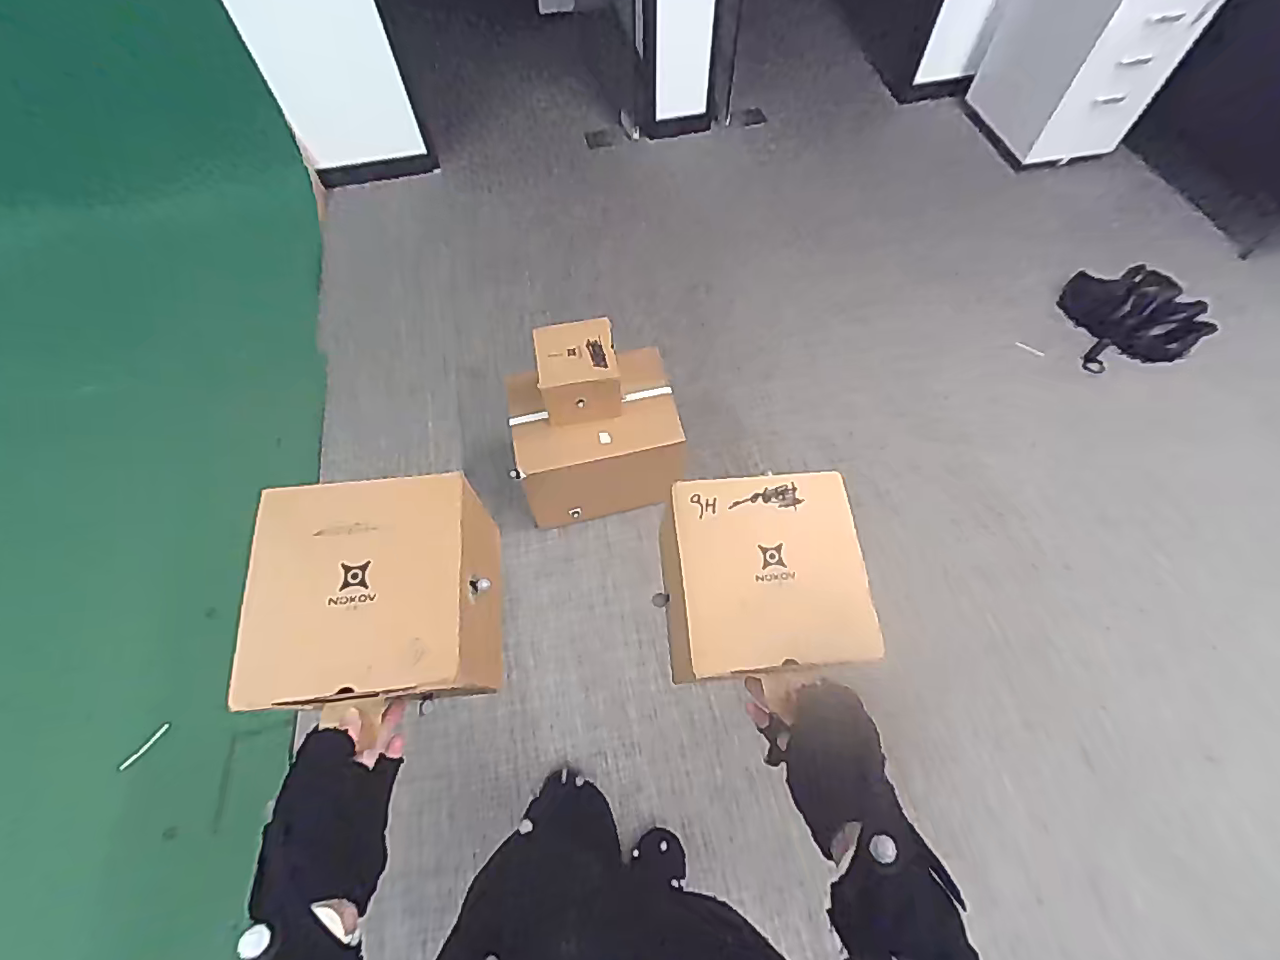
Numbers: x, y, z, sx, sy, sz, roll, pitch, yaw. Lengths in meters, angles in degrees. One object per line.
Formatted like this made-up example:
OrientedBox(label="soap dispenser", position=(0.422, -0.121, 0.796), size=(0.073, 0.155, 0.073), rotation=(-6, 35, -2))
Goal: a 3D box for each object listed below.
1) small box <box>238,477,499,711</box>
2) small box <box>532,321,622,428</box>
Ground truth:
OrientedBox(label="small box", position=(-0.233, 0.115, 0.514), size=(0.168, 0.176, 0.179), rotation=(-6, 67, -5))
OrientedBox(label="small box", position=(-0.144, -0.242, 1.268), size=(0.179, 0.176, 0.168), rotation=(-12, 68, -6))
